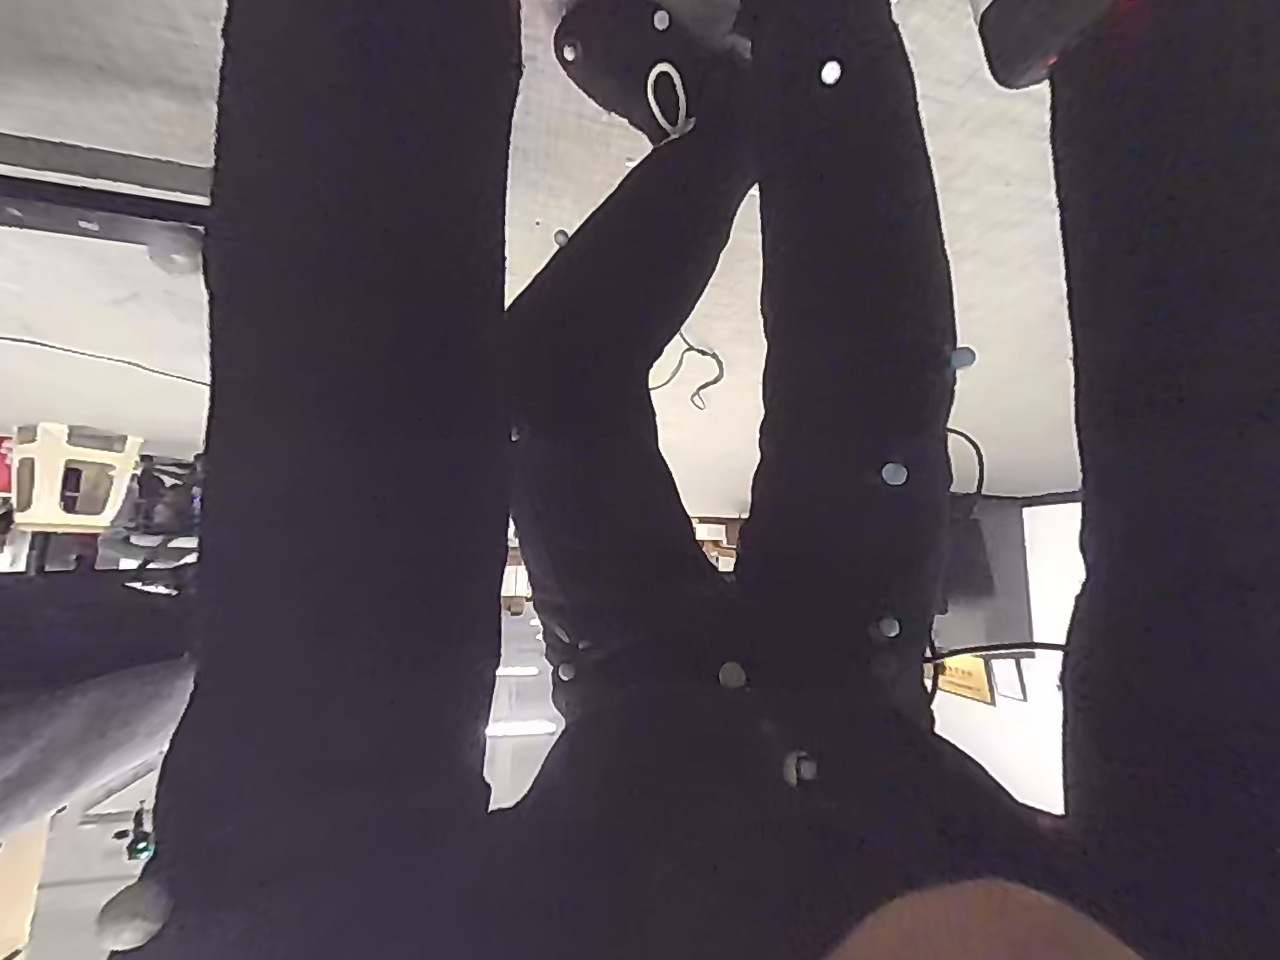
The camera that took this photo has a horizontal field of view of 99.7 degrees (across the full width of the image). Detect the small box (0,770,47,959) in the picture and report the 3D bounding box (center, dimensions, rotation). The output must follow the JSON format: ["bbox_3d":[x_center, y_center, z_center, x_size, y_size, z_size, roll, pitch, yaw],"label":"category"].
[{"bbox_3d":[-0.616,0.330,0.400,0.179,0.176,0.168,3,170,-11],"label":"small box"}]
